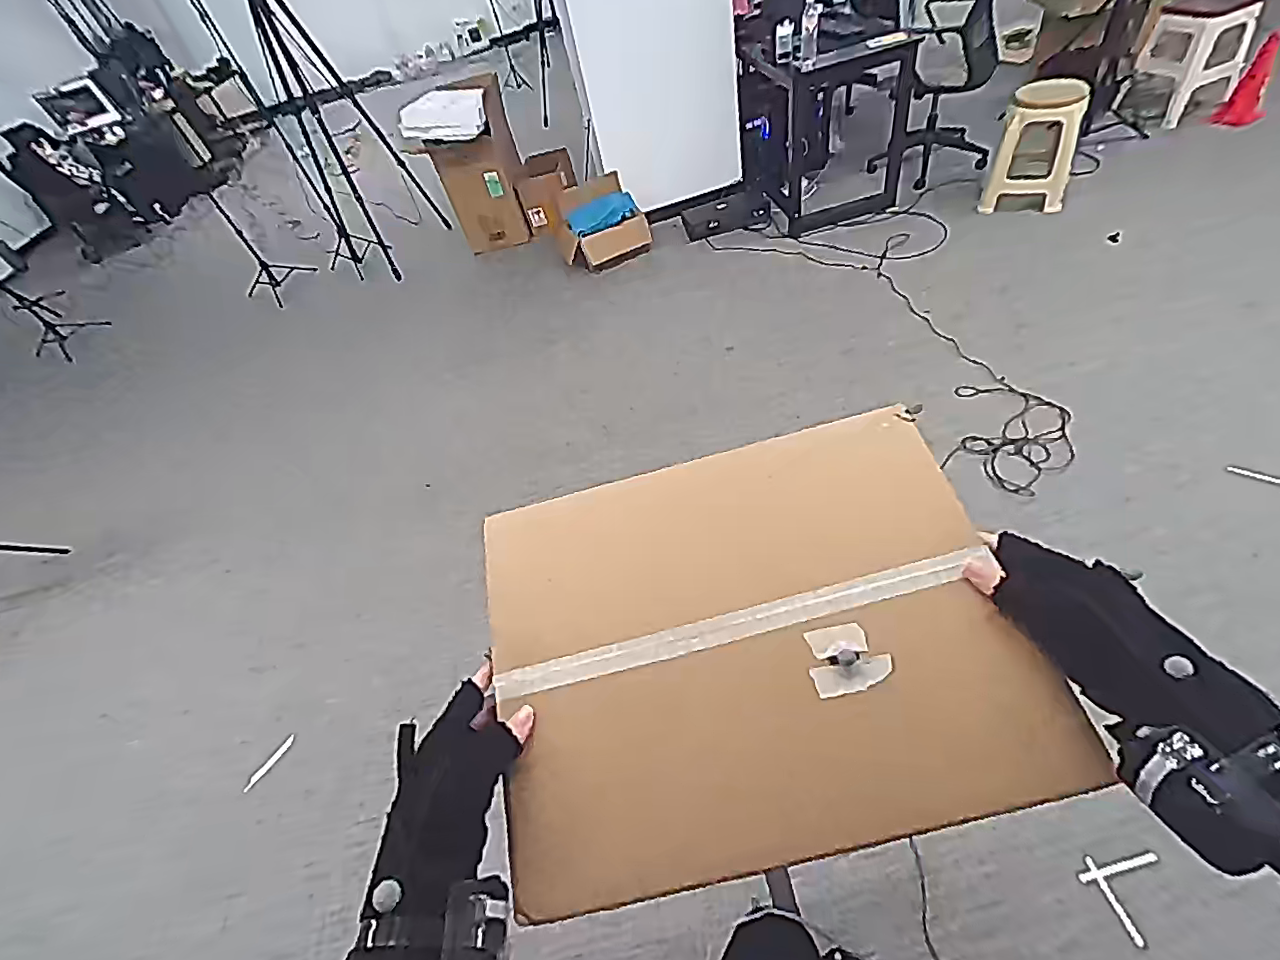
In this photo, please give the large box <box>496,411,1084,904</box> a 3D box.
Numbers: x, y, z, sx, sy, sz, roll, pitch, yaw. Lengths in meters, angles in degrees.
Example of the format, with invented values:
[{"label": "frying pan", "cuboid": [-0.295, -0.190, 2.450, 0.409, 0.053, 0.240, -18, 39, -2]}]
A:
[{"label": "large box", "cuboid": [0.105, 0.186, 0.574, 0.408, 0.320, 0.320, -16, 61, 2]}]
